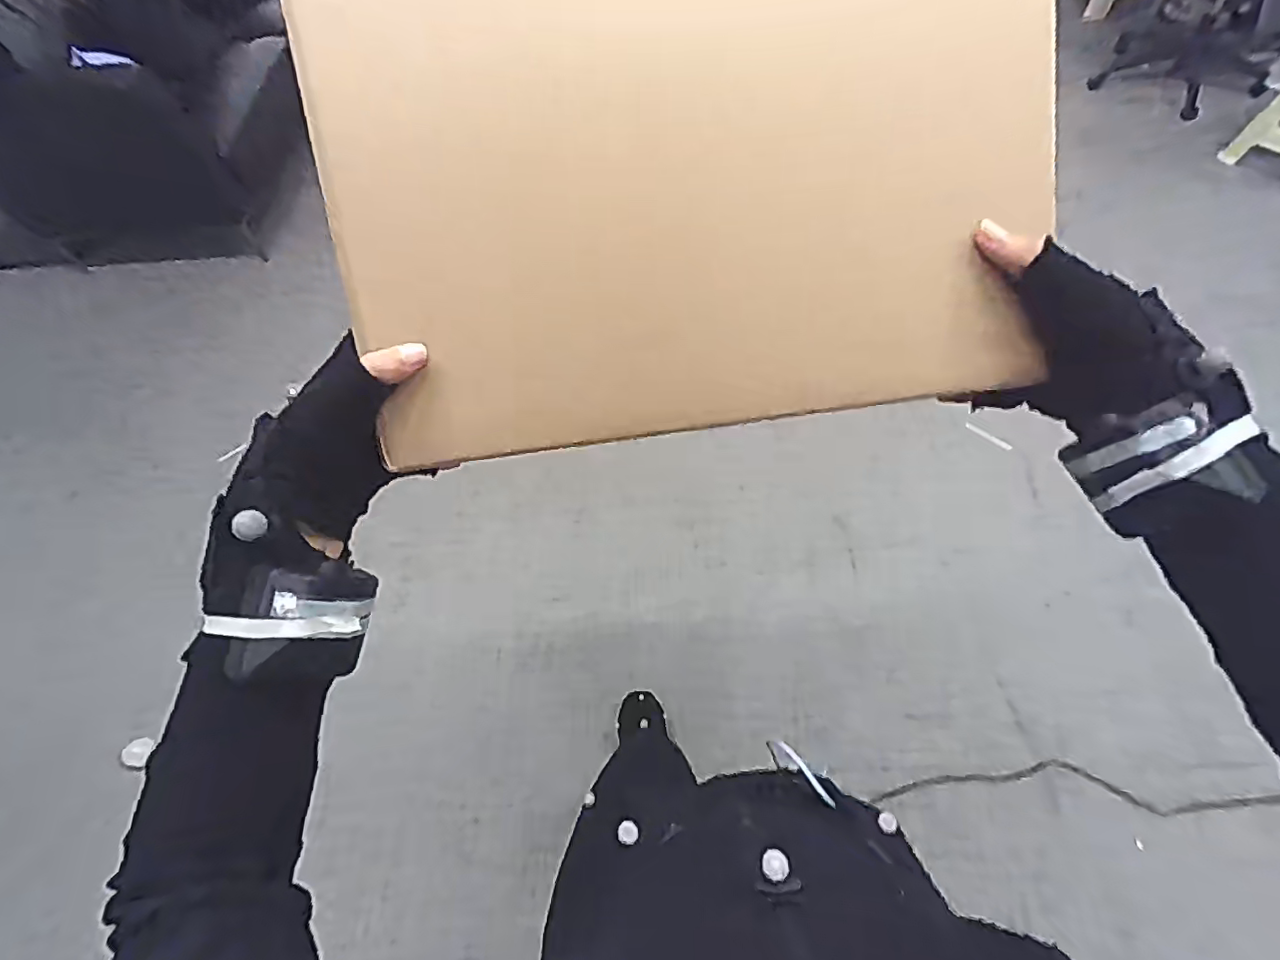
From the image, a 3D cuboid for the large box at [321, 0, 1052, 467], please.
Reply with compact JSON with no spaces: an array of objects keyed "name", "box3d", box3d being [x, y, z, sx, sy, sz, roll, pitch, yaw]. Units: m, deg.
[{"name":"large box","box3d":[0.030,-0.201,0.442,0.408,0.320,0.320,-7,101,-3]}]
